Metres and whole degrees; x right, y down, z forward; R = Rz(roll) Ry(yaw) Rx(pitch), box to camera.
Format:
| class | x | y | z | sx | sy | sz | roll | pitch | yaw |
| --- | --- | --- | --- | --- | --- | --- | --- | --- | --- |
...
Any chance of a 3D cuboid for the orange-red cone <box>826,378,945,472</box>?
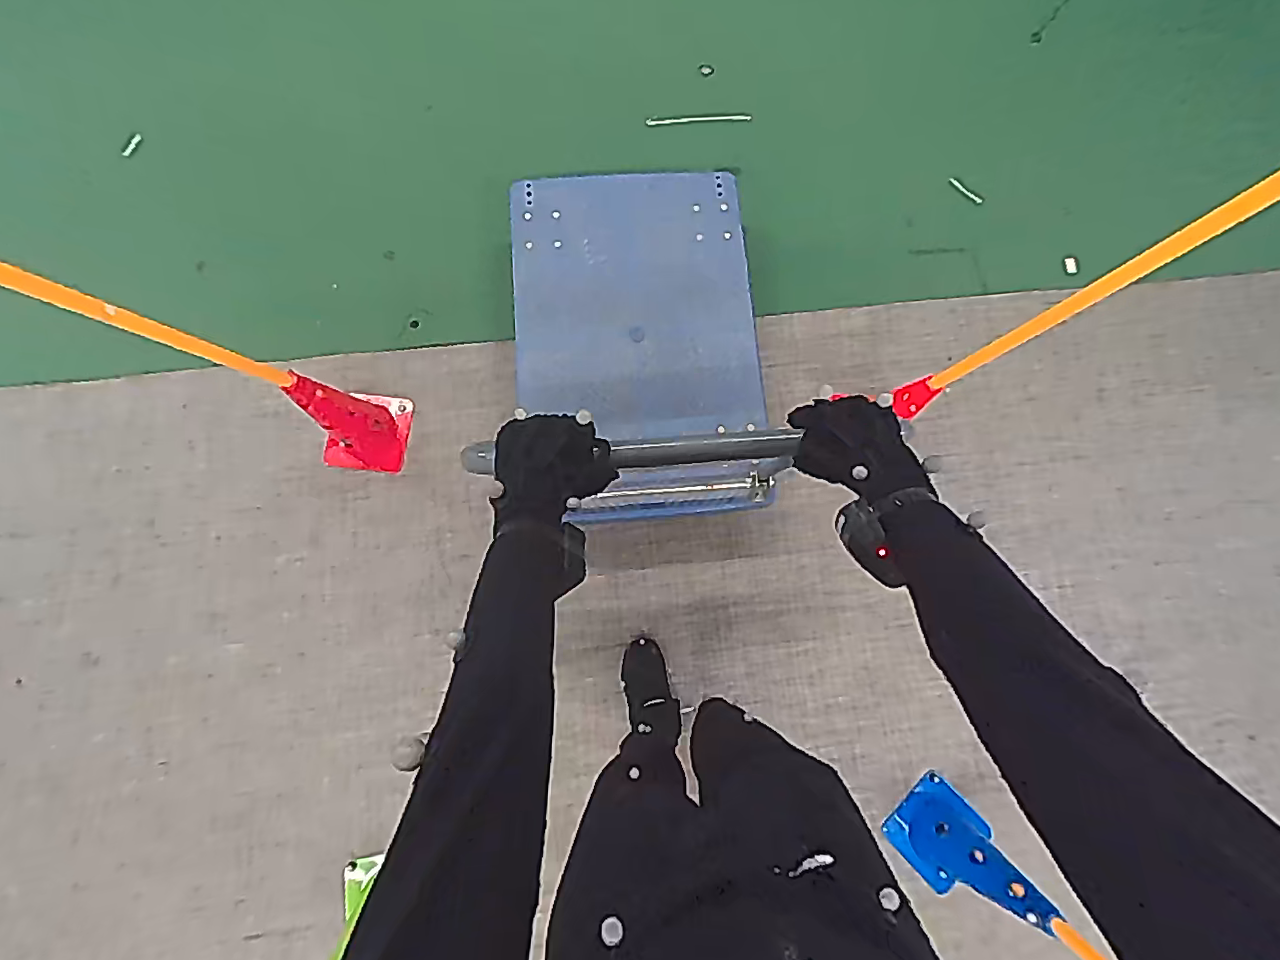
| class | x | y | z | sx | sy | sz | roll | pitch | yaw |
| --- | --- | --- | --- | --- | --- | --- | --- | --- | --- |
| orange-red cone | 0.604 | -0.156 | 1.282 | 0.198 | 0.360 | 0.199 | 5 | 79 | -1 |
